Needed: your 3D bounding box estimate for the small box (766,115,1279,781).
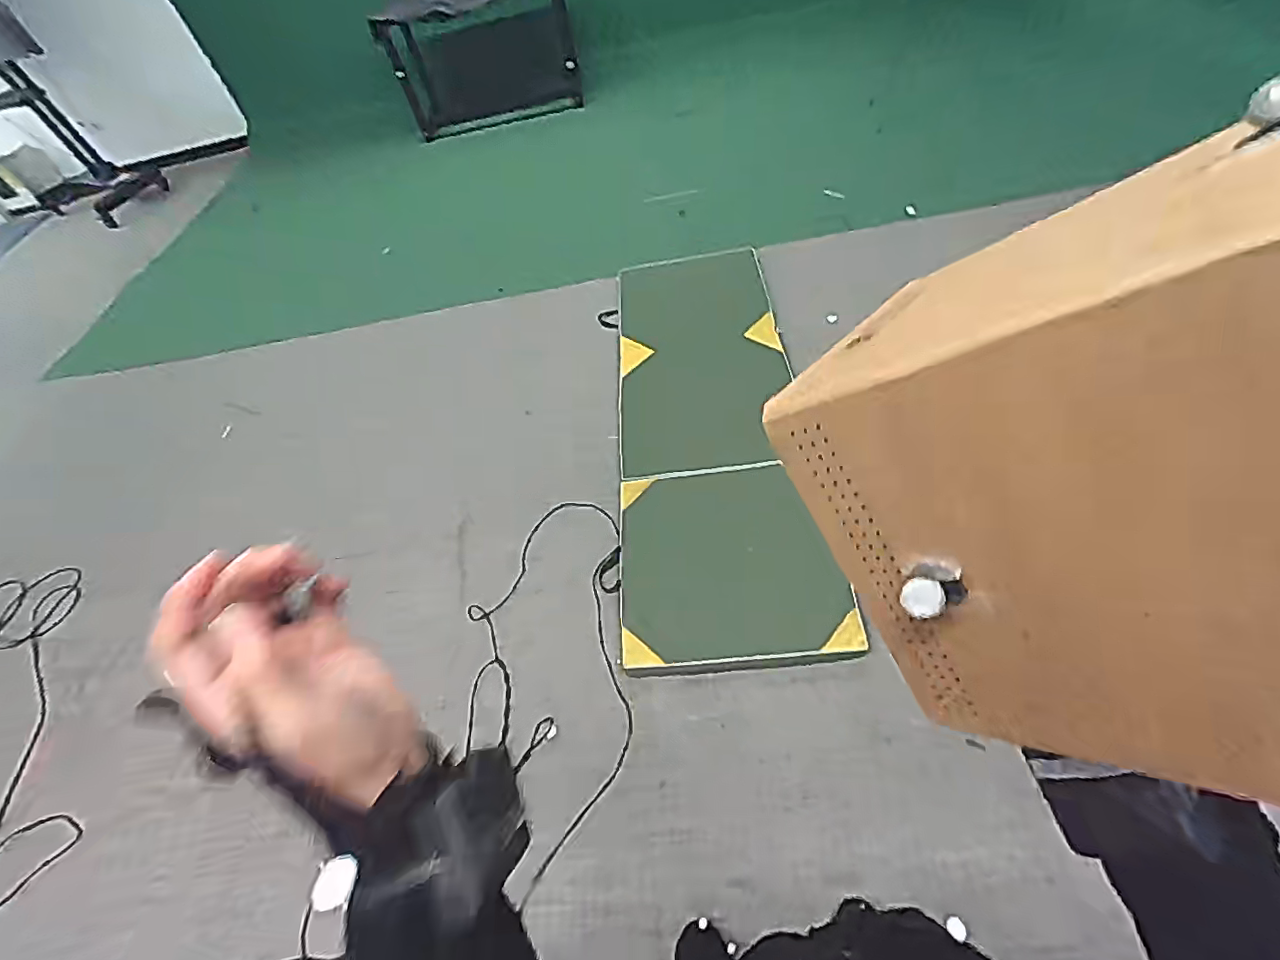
[{"bbox_3d":[0.188,-0.013,0.221,0.168,0.179,0.176,-39,13,-32],"label":"small box"}]
